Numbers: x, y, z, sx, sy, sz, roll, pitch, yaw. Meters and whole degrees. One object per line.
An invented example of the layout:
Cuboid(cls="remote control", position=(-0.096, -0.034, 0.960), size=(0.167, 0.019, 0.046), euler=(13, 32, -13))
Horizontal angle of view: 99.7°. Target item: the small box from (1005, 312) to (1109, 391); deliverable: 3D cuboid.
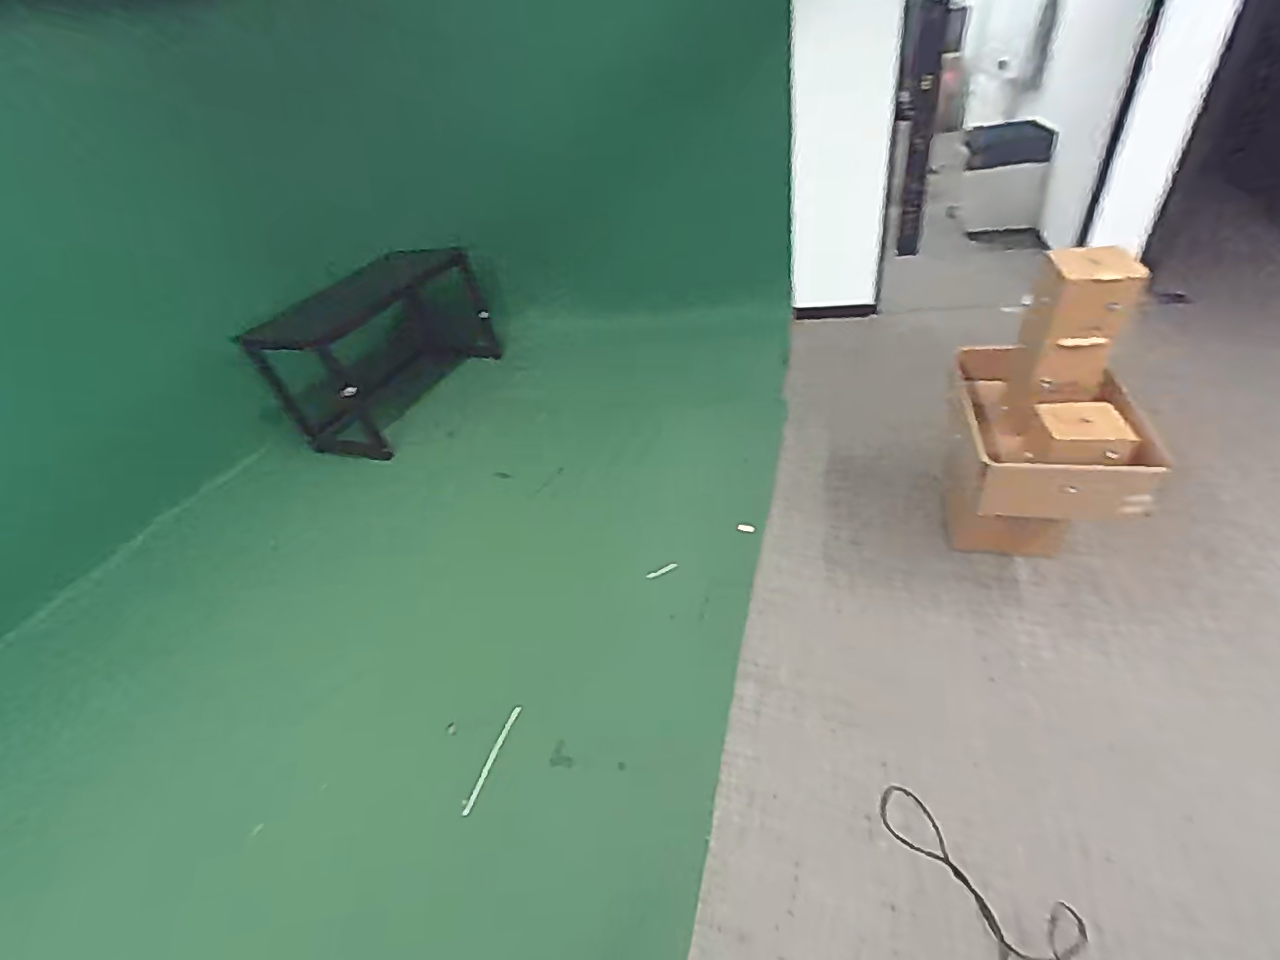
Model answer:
Cuboid(cls="small box", position=(1.162, -0.363, 1.524), size=(0.168, 0.176, 0.179), euler=(-1, 43, 14))

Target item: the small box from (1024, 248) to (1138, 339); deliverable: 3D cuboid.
Cuboid(cls="small box", position=(1.139, -0.481, 1.413), size=(0.168, 0.176, 0.179), euler=(2, 44, 16))
